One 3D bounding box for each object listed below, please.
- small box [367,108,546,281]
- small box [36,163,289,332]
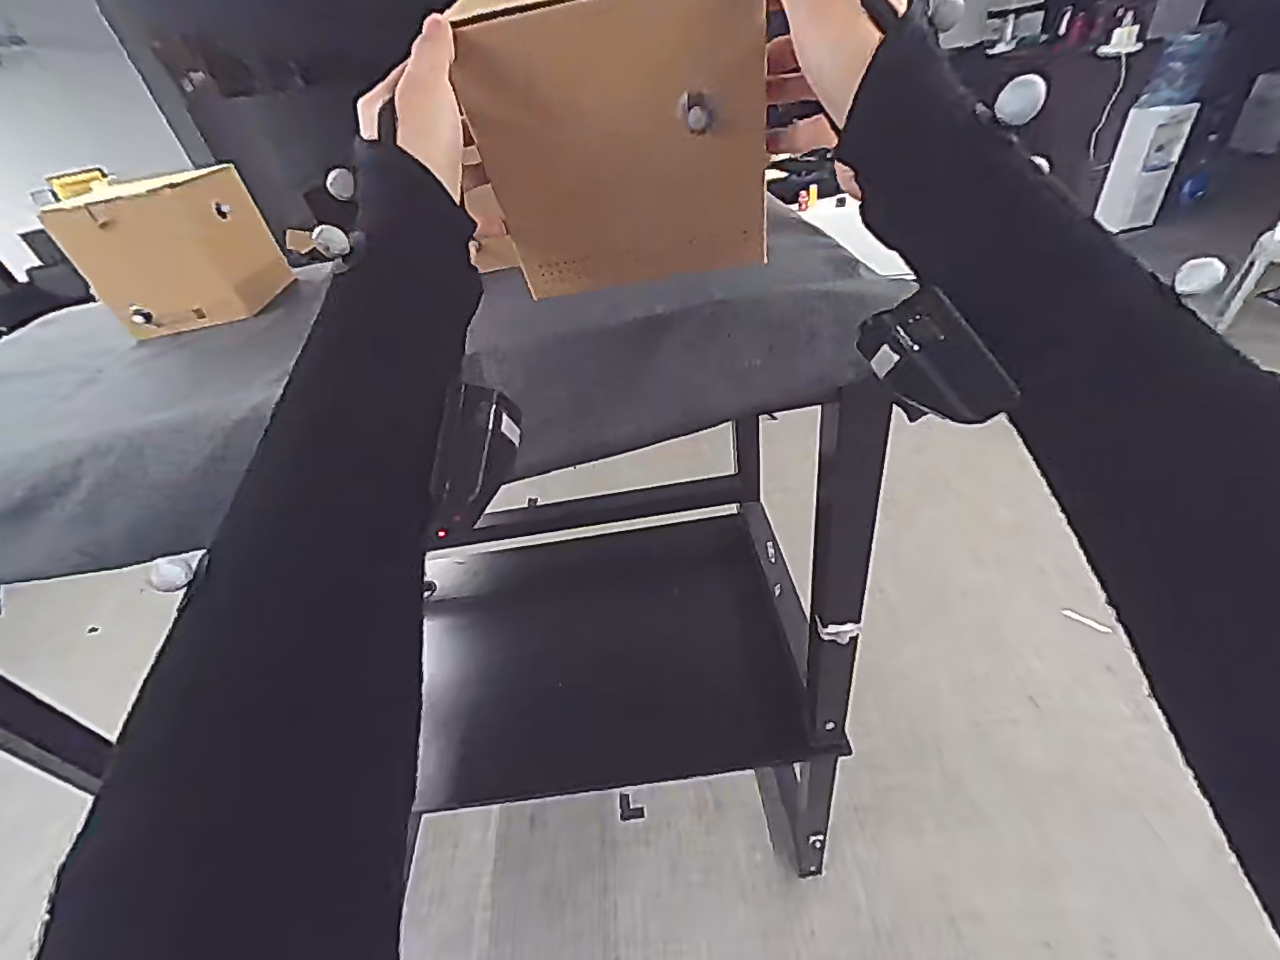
[{"bbox_3d":[-0.235,-0.395,0.751,0.179,0.176,0.168,-10,39,1],"label":"small box"},{"bbox_3d":[-0.636,-0.319,0.755,0.168,0.176,0.179,-12,38,-1],"label":"small box"}]
